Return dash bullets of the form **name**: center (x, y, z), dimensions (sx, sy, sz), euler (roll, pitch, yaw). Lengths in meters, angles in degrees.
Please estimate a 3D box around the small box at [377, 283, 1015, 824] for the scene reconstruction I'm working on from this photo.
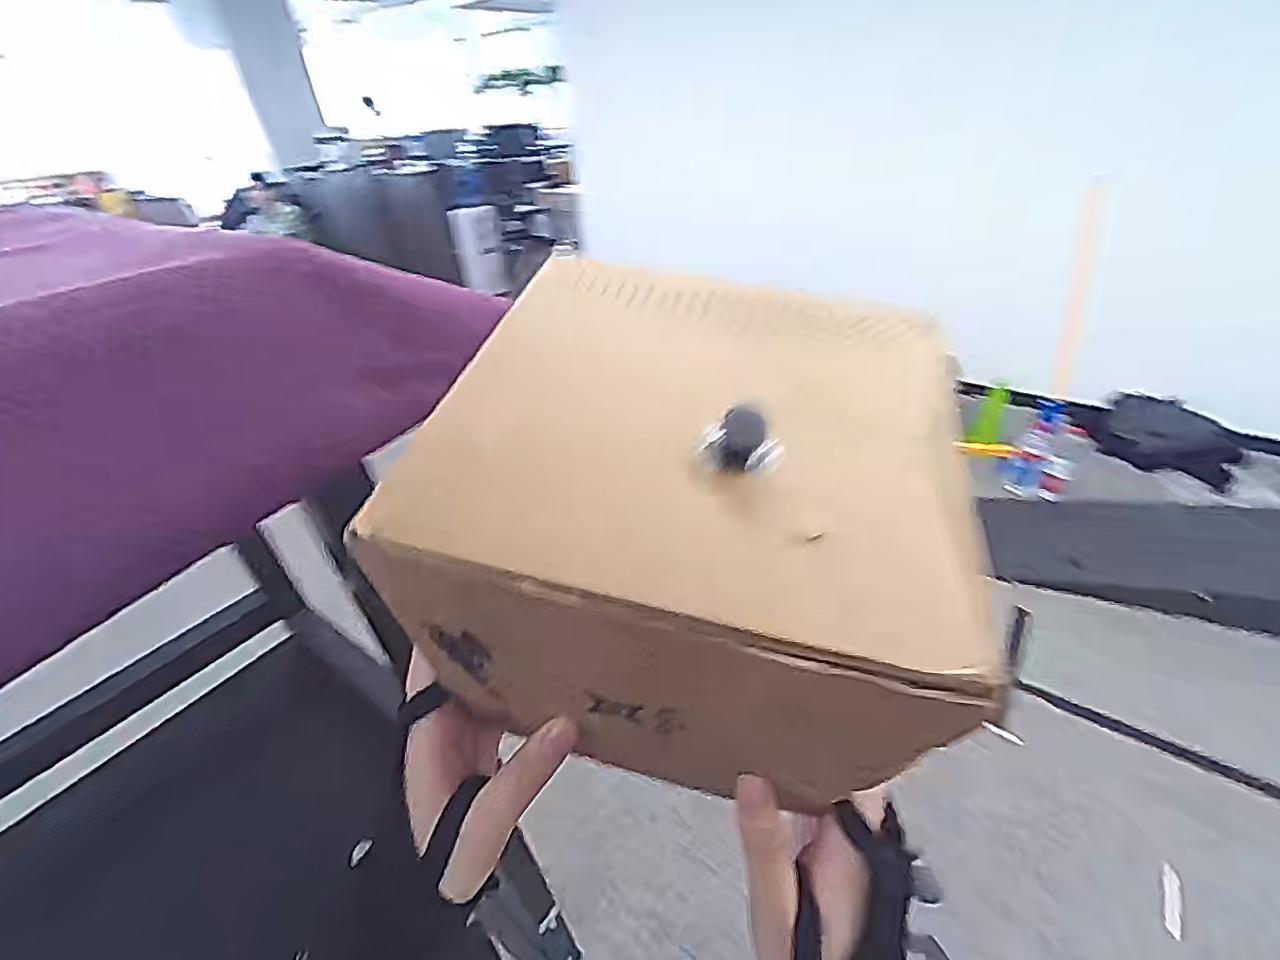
- **small box**: center (0.024, 0.029, 0.253), dimensions (0.179, 0.168, 0.176), euler (12, 48, 8)
